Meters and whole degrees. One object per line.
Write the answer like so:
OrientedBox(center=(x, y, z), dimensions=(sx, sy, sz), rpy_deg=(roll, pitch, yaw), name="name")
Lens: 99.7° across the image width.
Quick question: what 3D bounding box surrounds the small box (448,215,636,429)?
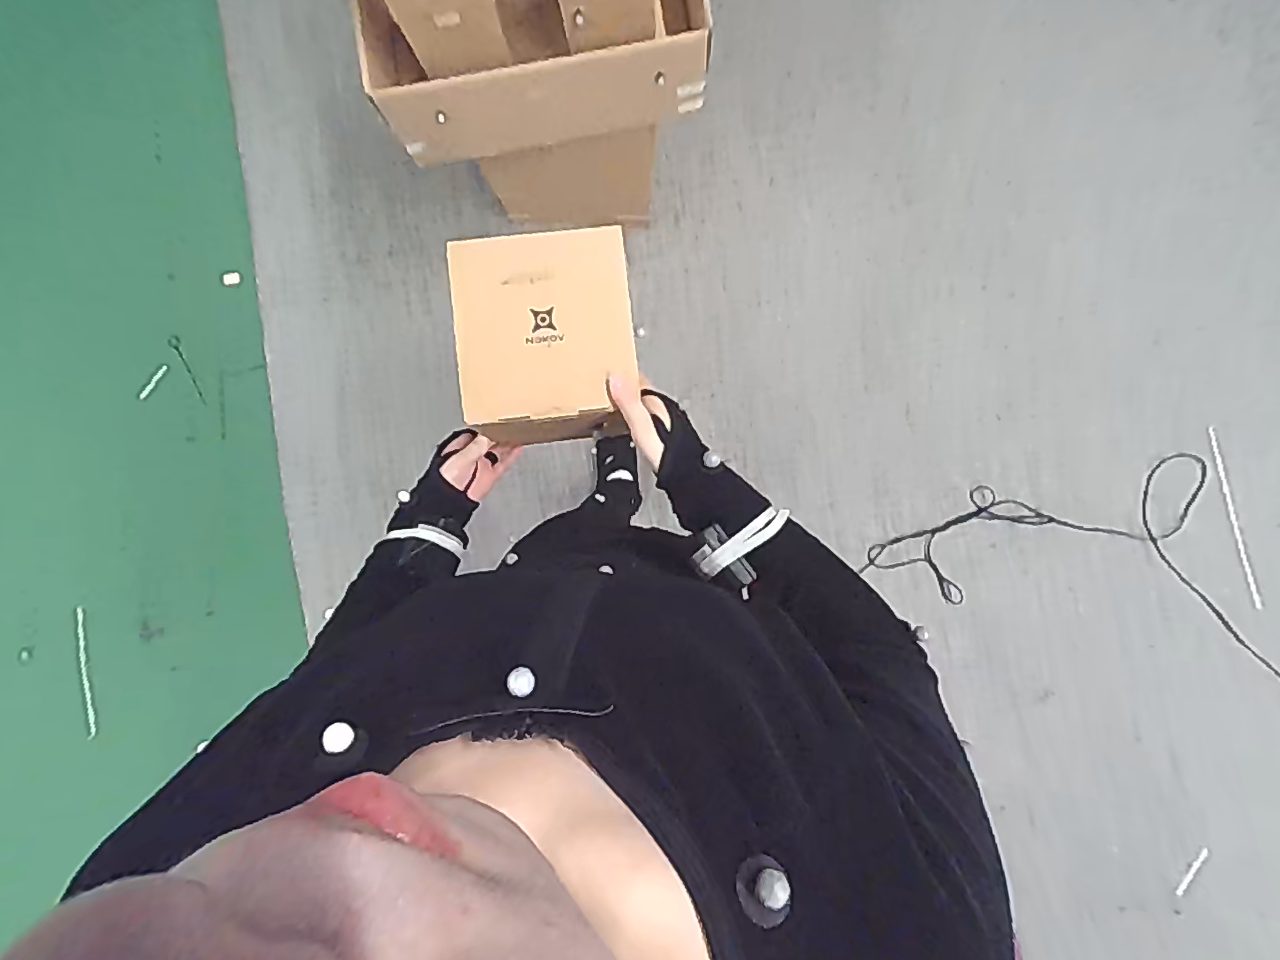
OrientedBox(center=(-0.092, -0.152, 0.582), dimensions=(0.168, 0.176, 0.179), rpy_deg=(-6, 87, -2), name="small box")
